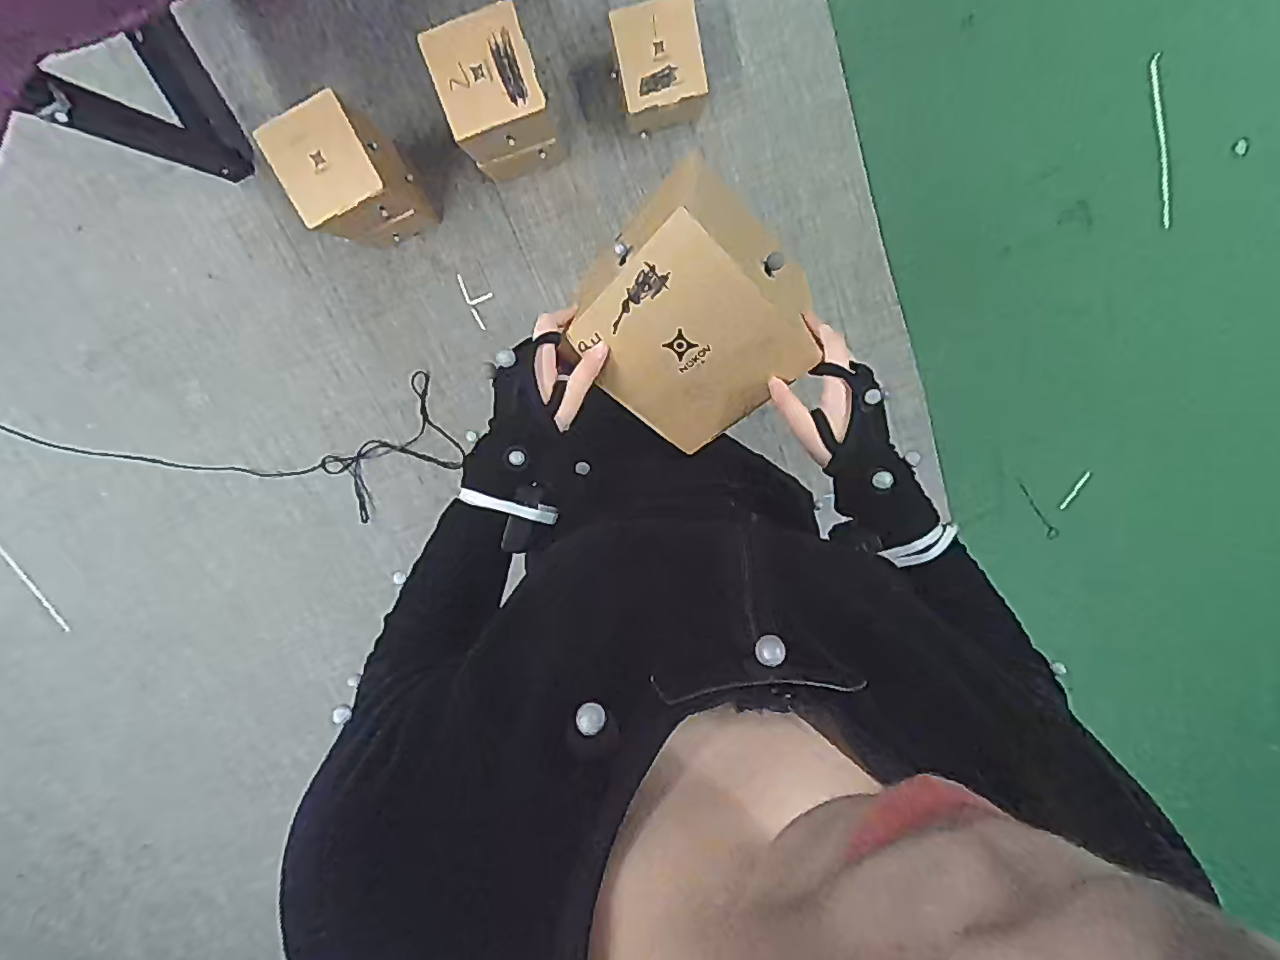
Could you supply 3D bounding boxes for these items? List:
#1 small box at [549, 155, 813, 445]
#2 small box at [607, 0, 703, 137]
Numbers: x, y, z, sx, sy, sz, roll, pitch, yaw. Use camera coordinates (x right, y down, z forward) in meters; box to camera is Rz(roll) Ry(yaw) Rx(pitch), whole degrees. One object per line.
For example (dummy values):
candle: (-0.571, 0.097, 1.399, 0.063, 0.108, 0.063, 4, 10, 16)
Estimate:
small box: (0.043, -0.174, 0.528, 0.179, 0.176, 0.168, 36, 128, -24)
small box: (0.032, -0.852, 1.140, 0.168, 0.176, 0.179, -13, 106, 3)
